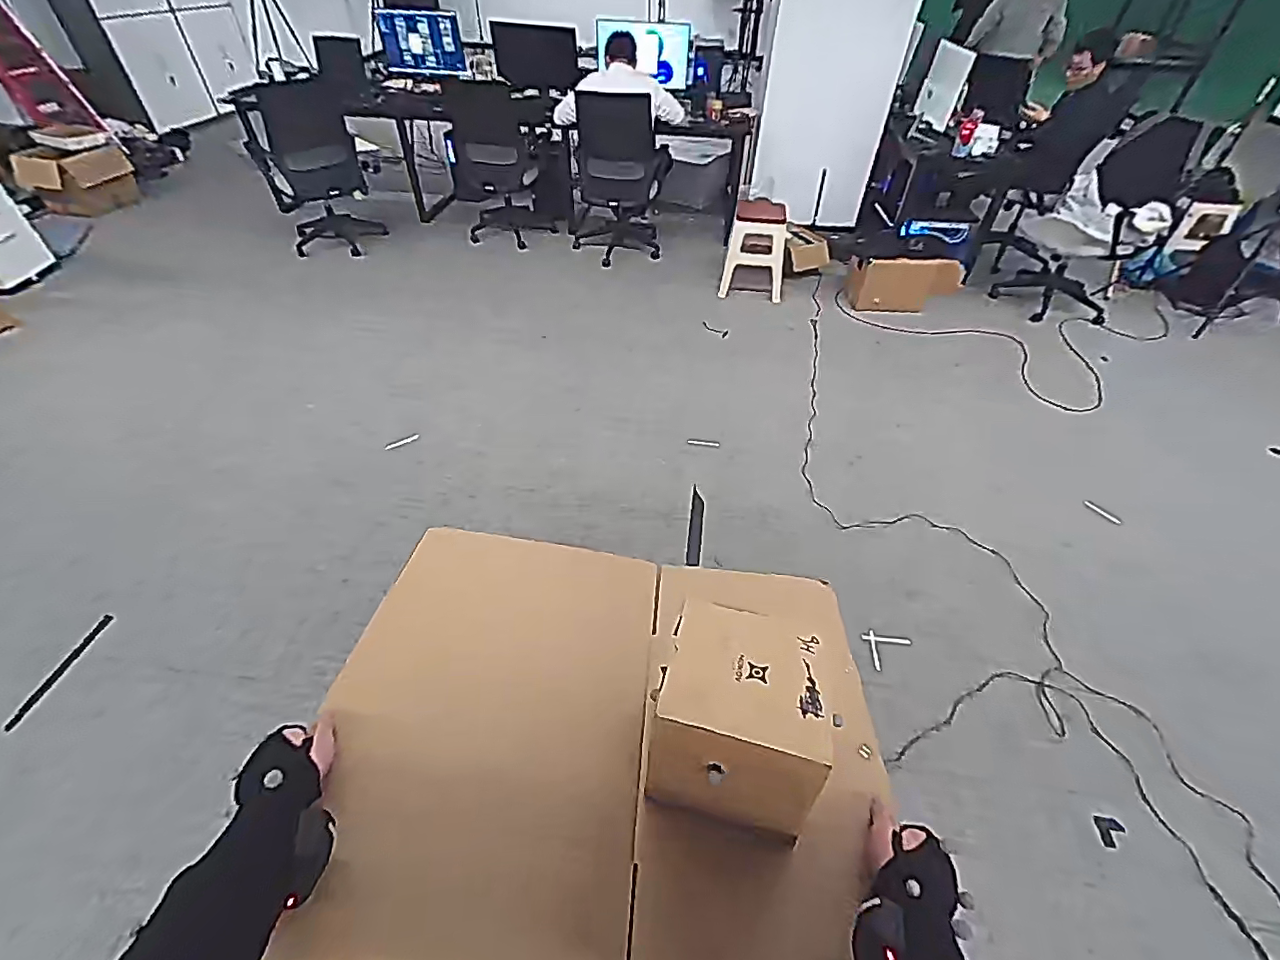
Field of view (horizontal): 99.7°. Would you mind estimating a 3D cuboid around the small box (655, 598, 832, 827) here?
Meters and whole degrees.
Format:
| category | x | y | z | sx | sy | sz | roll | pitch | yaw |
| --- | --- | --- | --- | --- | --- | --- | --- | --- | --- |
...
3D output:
| category | x | y | z | sx | sy | sz | roll | pitch | yaw |
| --- | --- | --- | --- | --- | --- | --- | --- | --- | --- |
| small box | 0.118 | 0.271 | 0.636 | 0.179 | 0.176 | 0.168 | 10 | 36 | 12 |
